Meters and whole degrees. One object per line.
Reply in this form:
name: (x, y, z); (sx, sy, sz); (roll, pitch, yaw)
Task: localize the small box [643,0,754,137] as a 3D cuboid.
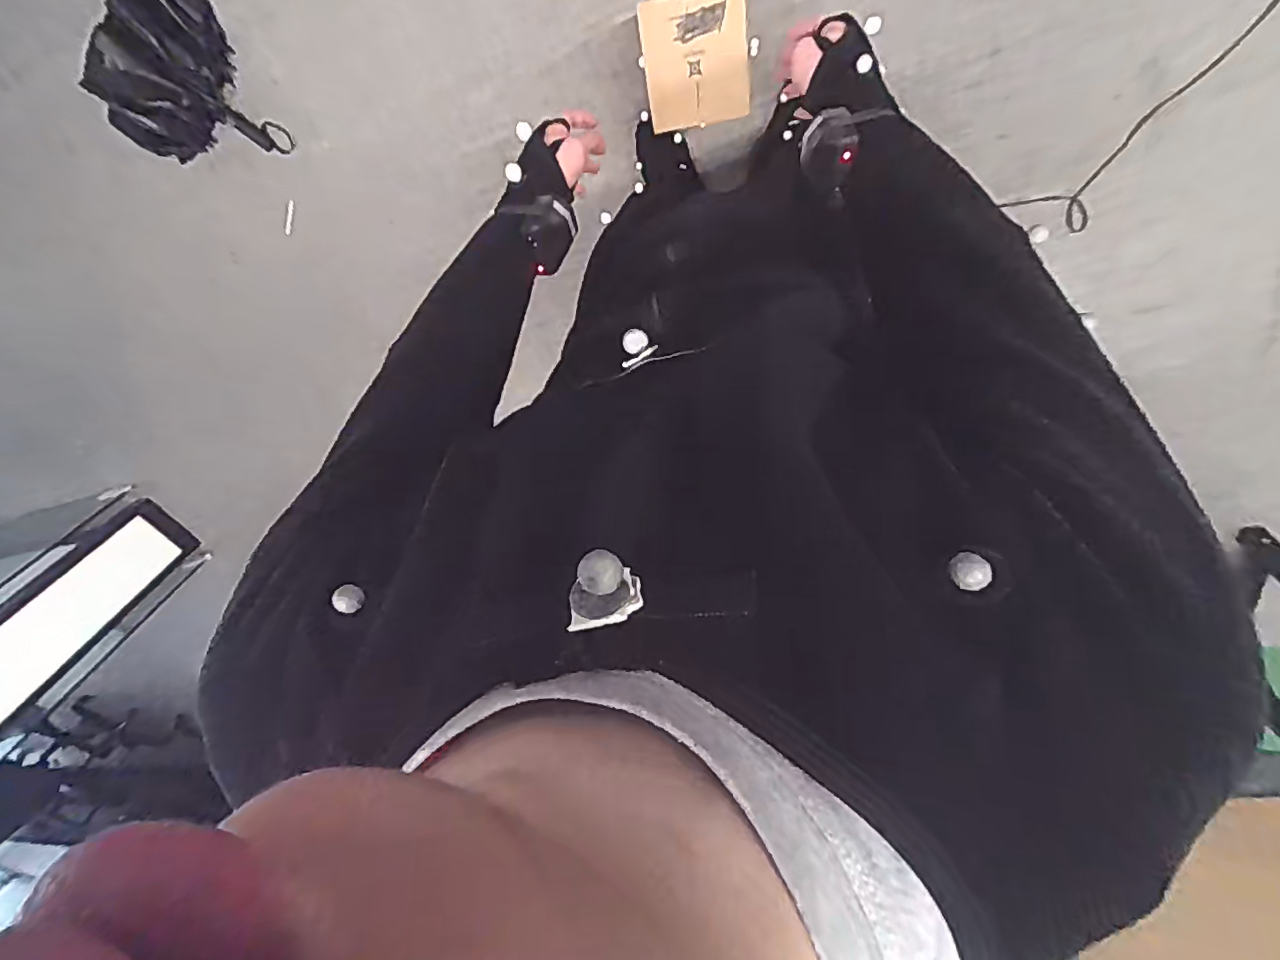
small box: (0.108, -0.712, 0.922); (0.168, 0.176, 0.179); (-1, 131, 14)
